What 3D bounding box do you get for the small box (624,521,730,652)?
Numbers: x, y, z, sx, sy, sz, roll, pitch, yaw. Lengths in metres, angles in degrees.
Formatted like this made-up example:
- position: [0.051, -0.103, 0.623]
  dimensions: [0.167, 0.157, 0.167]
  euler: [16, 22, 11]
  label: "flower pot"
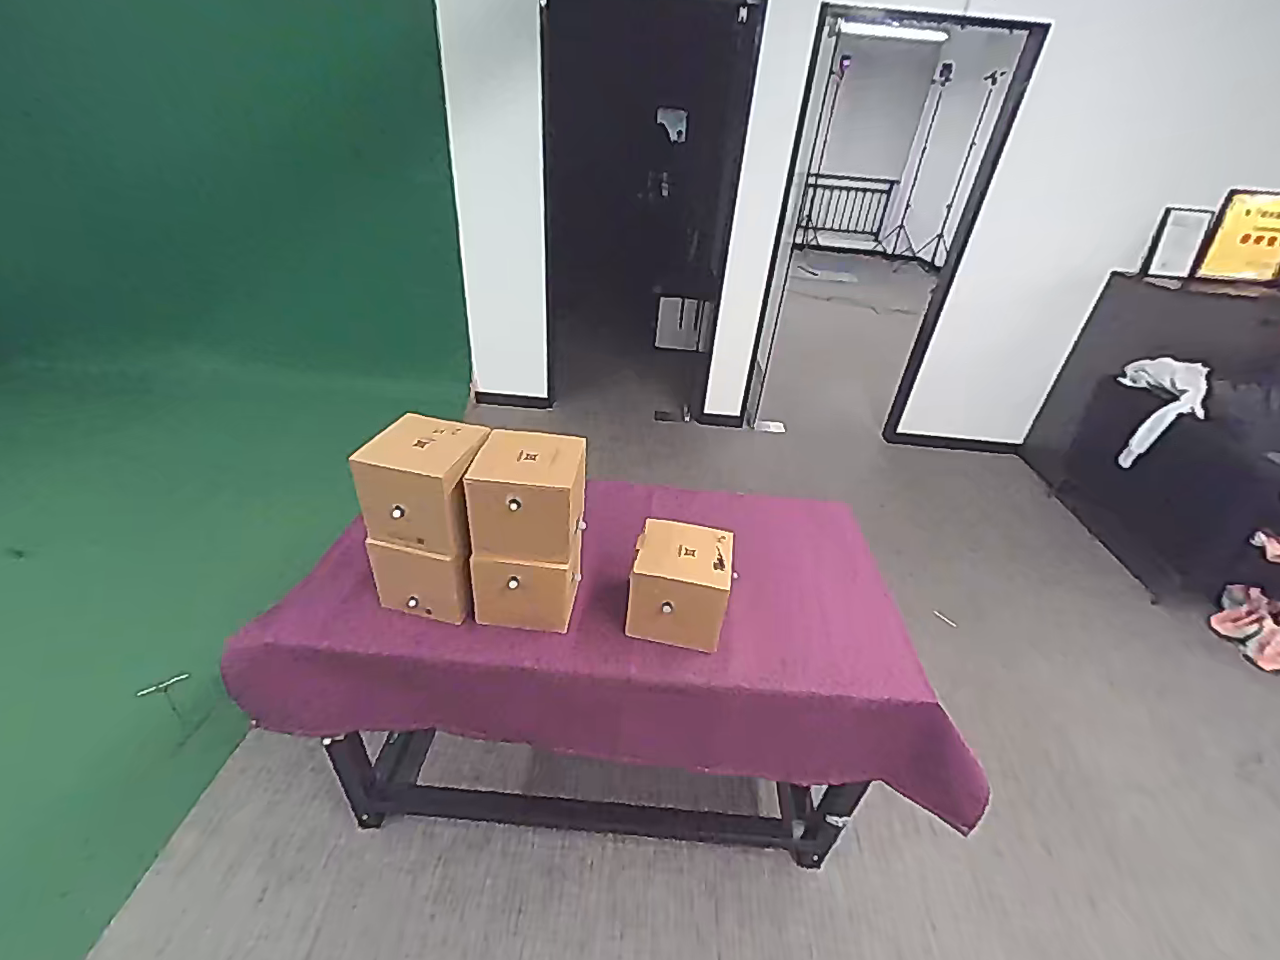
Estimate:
- position: [0.070, 0.205, 1.037]
  dimensions: [0.179, 0.176, 0.168]
  euler: [10, 33, 6]
  label: "small box"
